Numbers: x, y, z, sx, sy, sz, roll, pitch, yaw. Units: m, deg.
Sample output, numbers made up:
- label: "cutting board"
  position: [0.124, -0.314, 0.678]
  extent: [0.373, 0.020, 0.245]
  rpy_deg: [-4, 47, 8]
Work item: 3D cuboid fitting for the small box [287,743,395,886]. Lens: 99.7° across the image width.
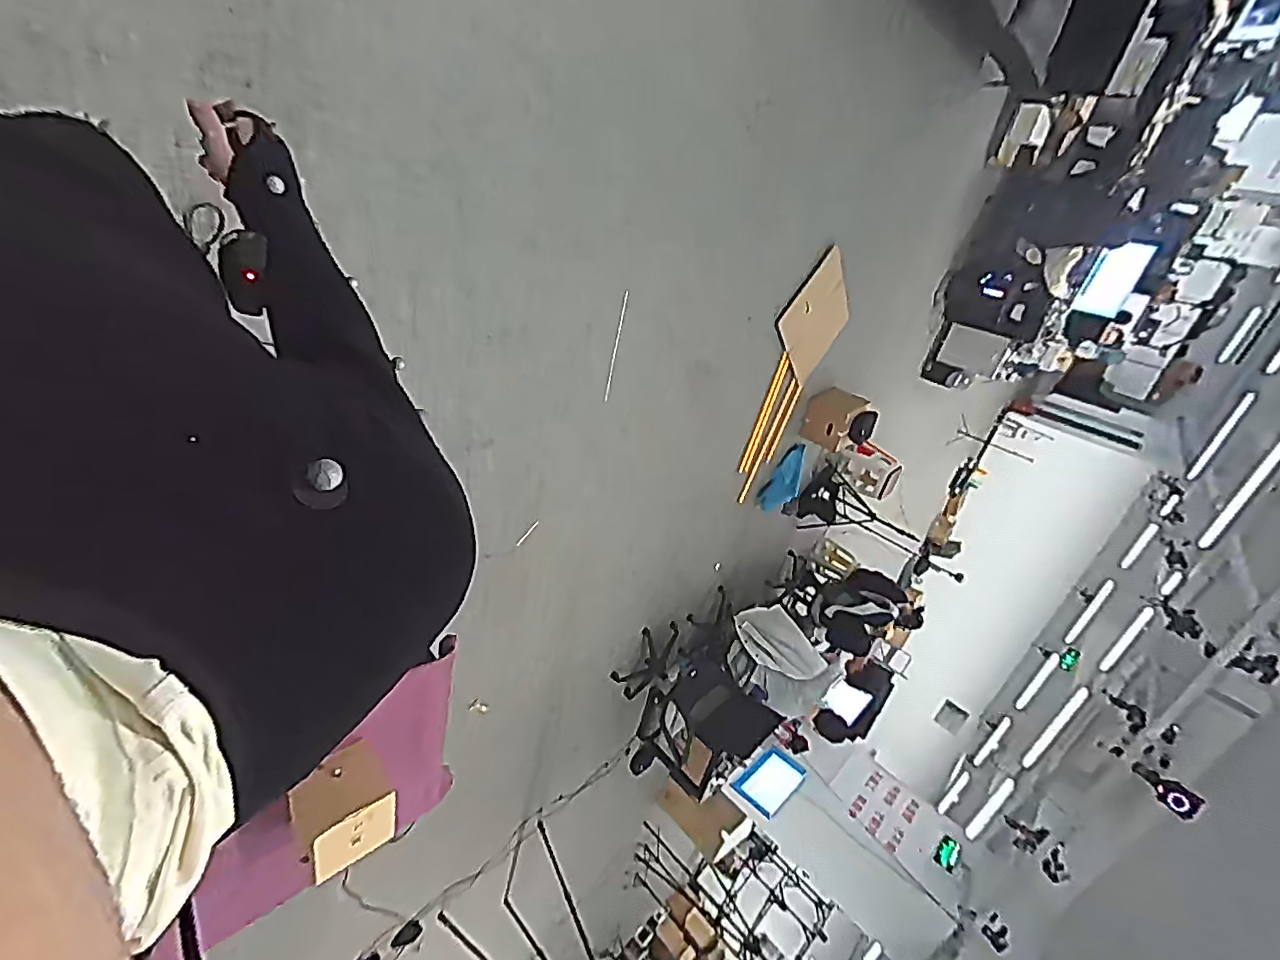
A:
- label: "small box"
  position: [-0.668, 0.736, 1.208]
  extent: [0.168, 0.176, 0.179]
  rpy_deg: [-15, 127, -45]
